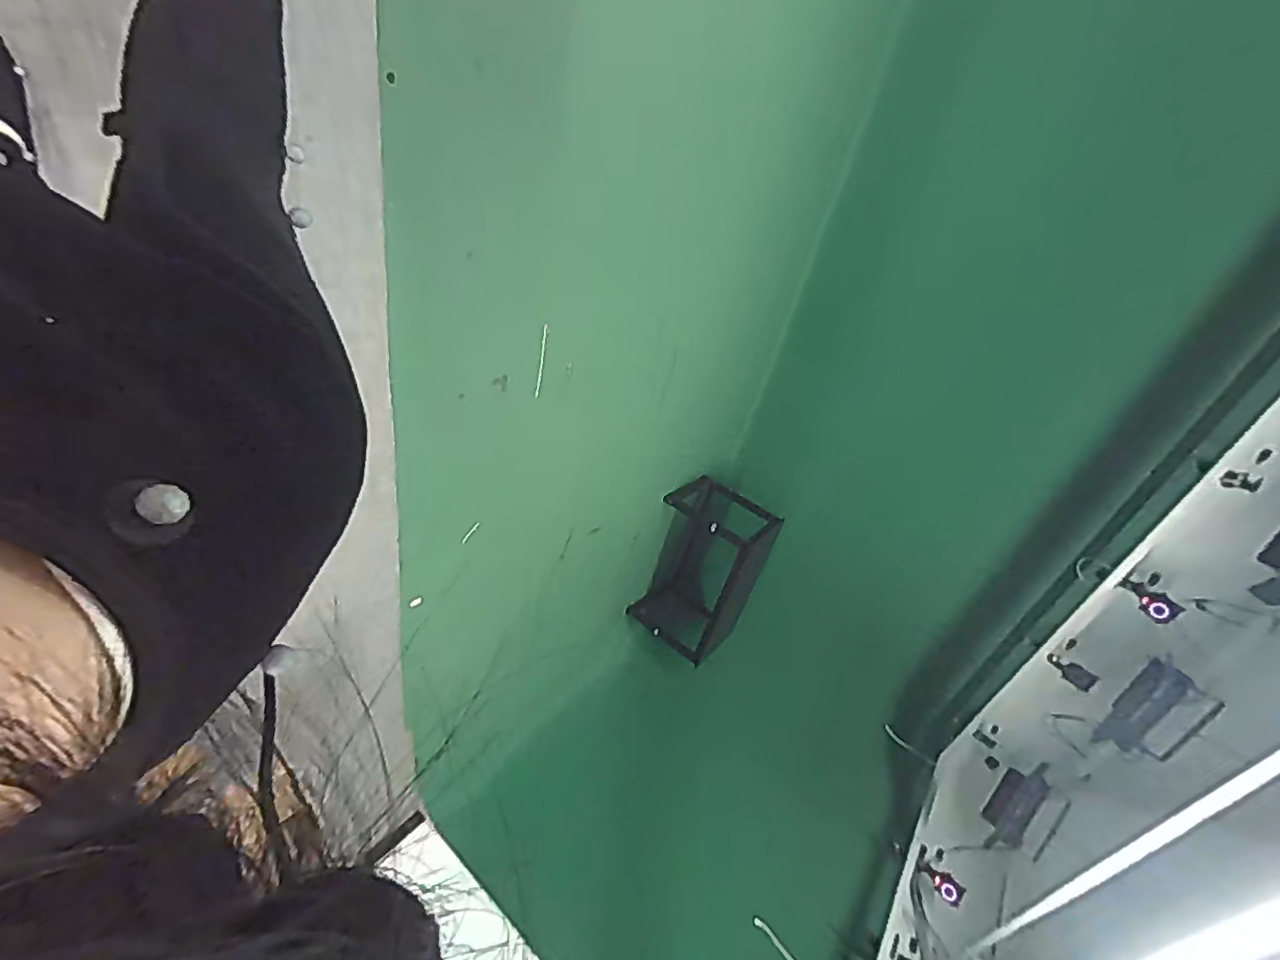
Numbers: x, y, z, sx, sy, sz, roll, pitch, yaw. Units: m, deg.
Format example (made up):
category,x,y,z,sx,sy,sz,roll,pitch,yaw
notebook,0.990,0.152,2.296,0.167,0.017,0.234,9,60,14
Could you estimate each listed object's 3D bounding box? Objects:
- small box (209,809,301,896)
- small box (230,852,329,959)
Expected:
category,x,y,z,sx,sy,sz,roll,pitch,yaw
small box,-1.128,1.120,1.595,0.168,0.176,0.179,-30,142,-45
small box,-1.006,1.190,1.509,0.168,0.176,0.179,-29,141,-44
